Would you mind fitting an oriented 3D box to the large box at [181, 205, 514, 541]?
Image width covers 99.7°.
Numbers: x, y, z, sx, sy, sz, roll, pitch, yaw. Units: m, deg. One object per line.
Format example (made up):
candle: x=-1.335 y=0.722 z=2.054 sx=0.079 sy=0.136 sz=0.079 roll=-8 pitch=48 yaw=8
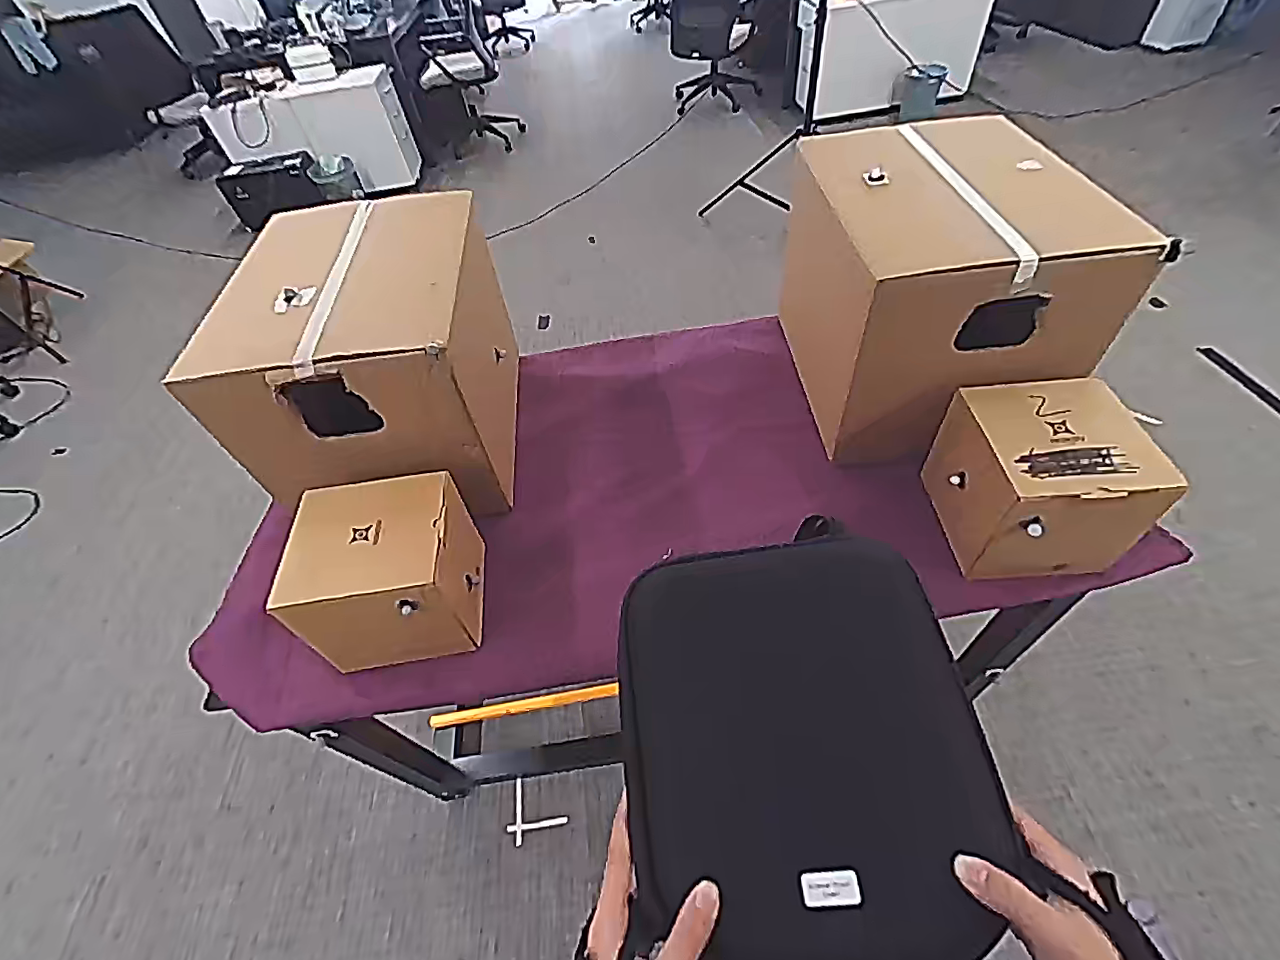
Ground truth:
large box: x=-0.383 y=-0.168 z=0.843 sx=0.320 sy=0.320 sz=0.408 roll=-9 pitch=52 yaw=-1
